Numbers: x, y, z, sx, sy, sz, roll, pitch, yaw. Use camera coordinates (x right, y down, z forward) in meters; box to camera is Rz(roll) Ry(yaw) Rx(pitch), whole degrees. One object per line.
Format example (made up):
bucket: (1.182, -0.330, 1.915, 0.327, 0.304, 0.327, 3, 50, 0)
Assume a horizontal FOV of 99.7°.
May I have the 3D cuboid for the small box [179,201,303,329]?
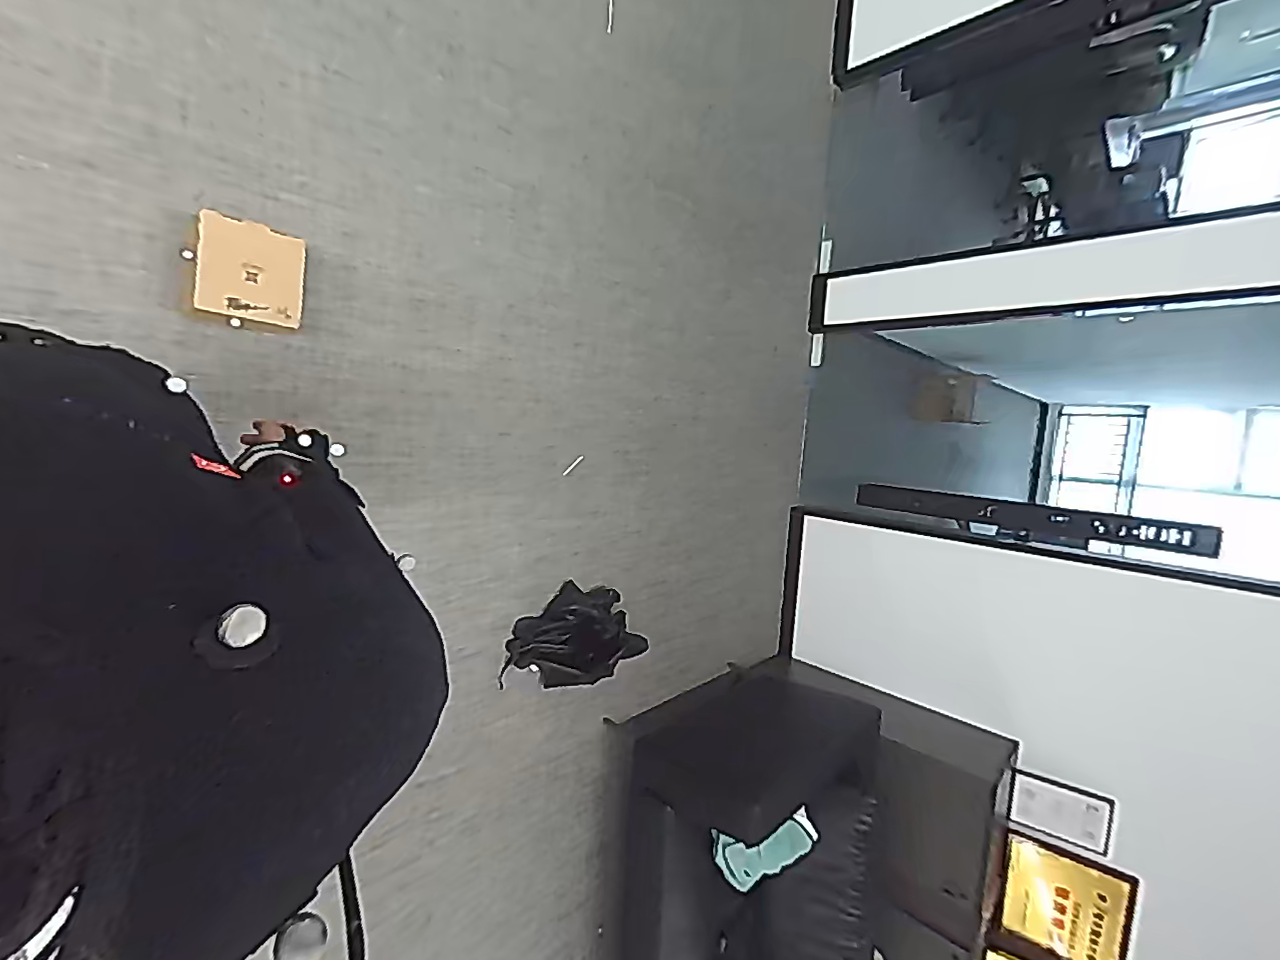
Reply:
small box: (-0.780, -0.405, 1.054, 0.168, 0.176, 0.179, 2, 95, -46)
